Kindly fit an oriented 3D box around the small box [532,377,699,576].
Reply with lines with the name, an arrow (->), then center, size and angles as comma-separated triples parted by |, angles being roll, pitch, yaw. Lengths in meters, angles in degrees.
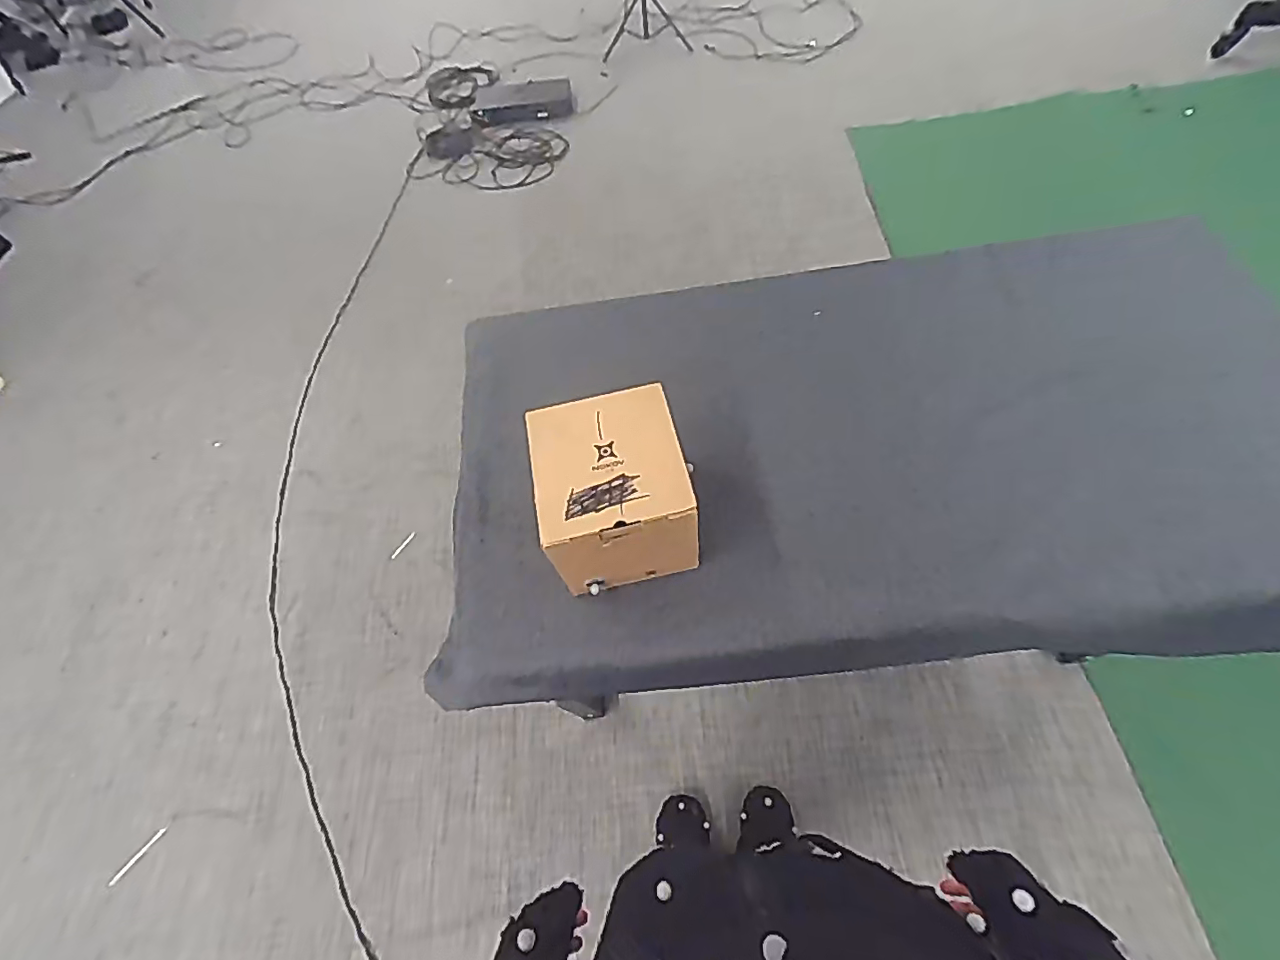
small box -> -0.025, 0.007, 0.667 | 0.168, 0.176, 0.179 | -13, 60, -1
